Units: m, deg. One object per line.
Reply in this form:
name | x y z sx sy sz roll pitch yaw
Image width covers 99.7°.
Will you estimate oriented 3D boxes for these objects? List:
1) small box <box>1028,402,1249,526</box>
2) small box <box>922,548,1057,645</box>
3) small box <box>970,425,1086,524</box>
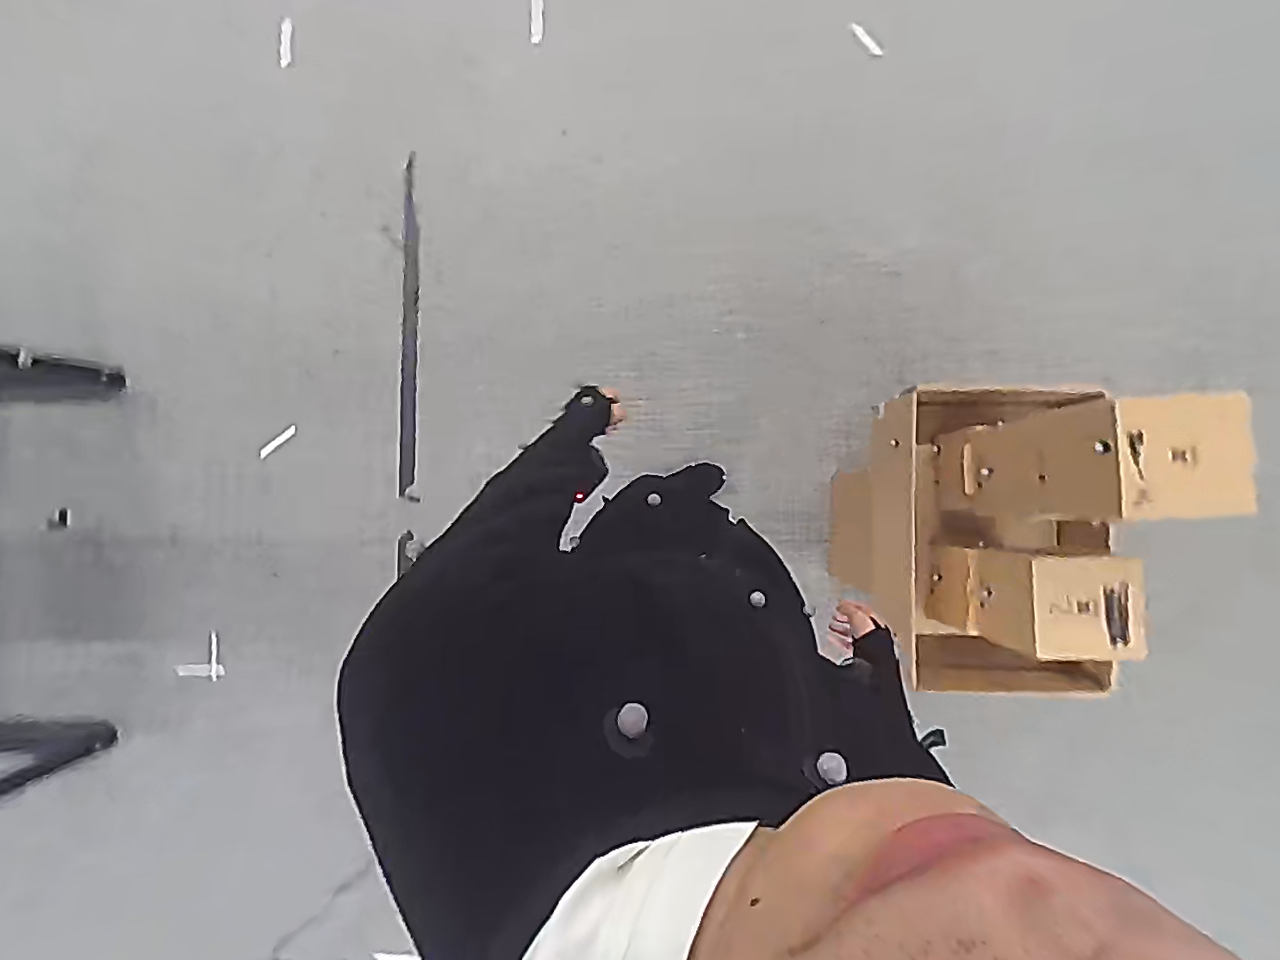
small box | 0.719 -0.020 0.797 0.179 0.176 0.168 -2 88 1
small box | 0.716 0.233 1.120 0.179 0.176 0.168 3 87 3
small box | 0.723 -0.009 0.962 0.179 0.176 0.168 -2 88 2
